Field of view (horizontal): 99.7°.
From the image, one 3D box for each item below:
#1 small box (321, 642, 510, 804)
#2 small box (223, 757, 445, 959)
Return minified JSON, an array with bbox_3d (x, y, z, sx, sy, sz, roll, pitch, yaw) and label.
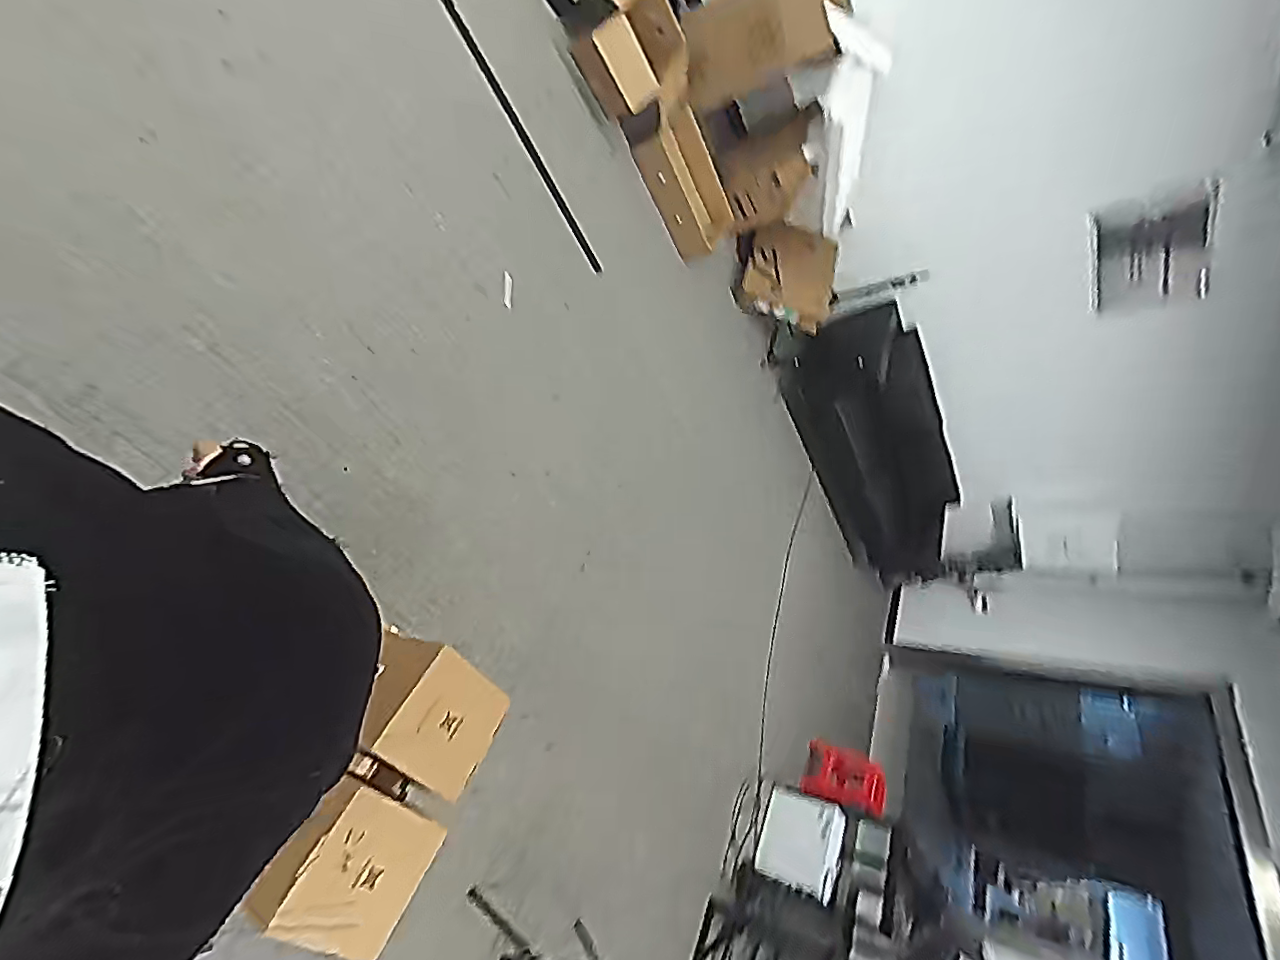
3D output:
[{"bbox_3d":[-0.349,0.370,0.851,0.179,0.176,0.168,56,44,-30],"label":"small box"},{"bbox_3d":[-0.419,0.514,0.749,0.179,0.176,0.168,55,49,-33],"label":"small box"}]
